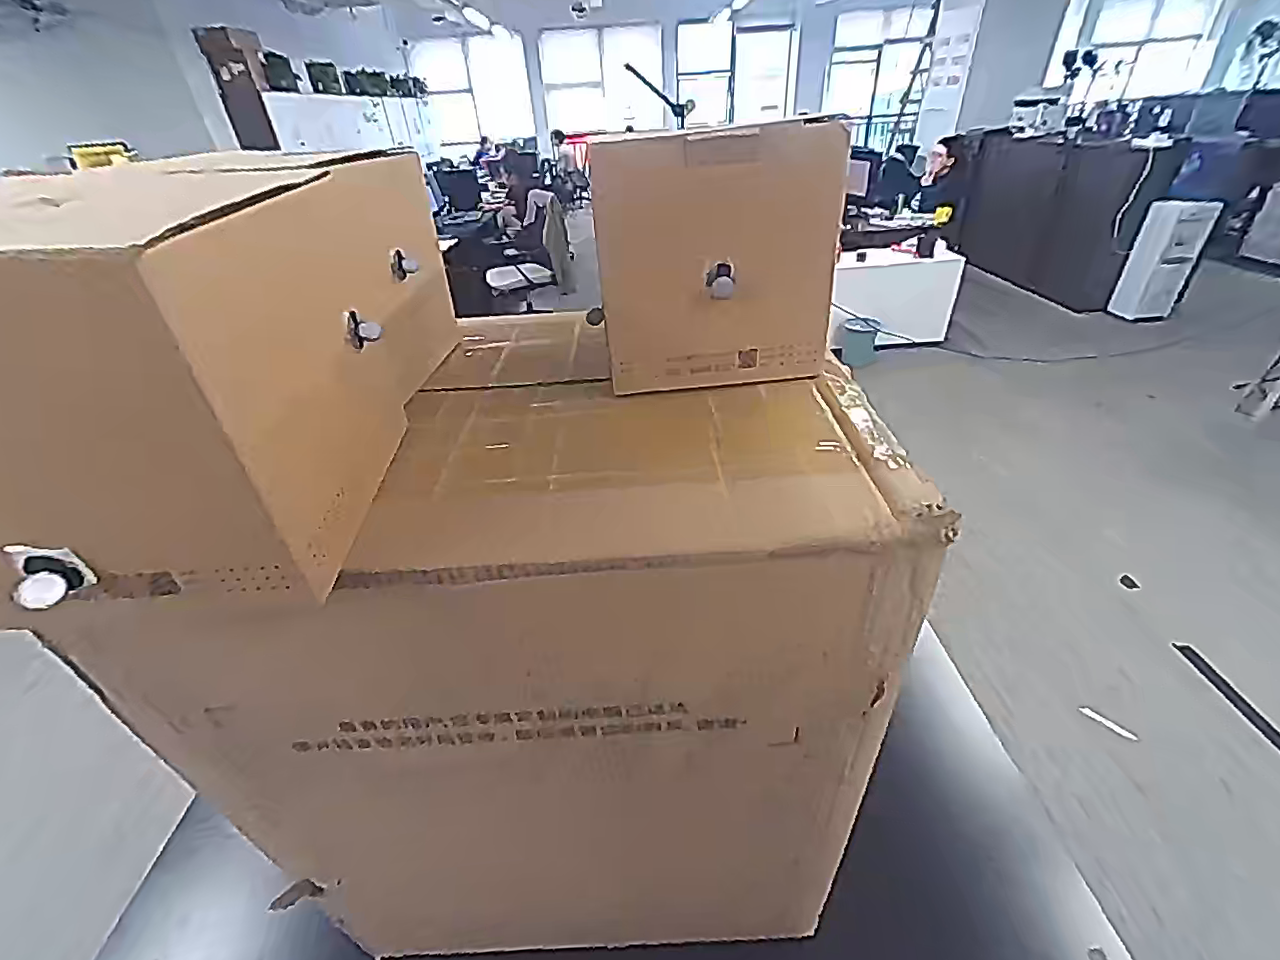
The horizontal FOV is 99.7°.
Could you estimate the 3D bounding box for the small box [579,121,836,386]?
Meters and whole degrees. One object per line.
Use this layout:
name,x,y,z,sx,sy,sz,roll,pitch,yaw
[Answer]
small box,0.045,-0.184,0.446,0.168,0.176,0.179,-7,33,-1
